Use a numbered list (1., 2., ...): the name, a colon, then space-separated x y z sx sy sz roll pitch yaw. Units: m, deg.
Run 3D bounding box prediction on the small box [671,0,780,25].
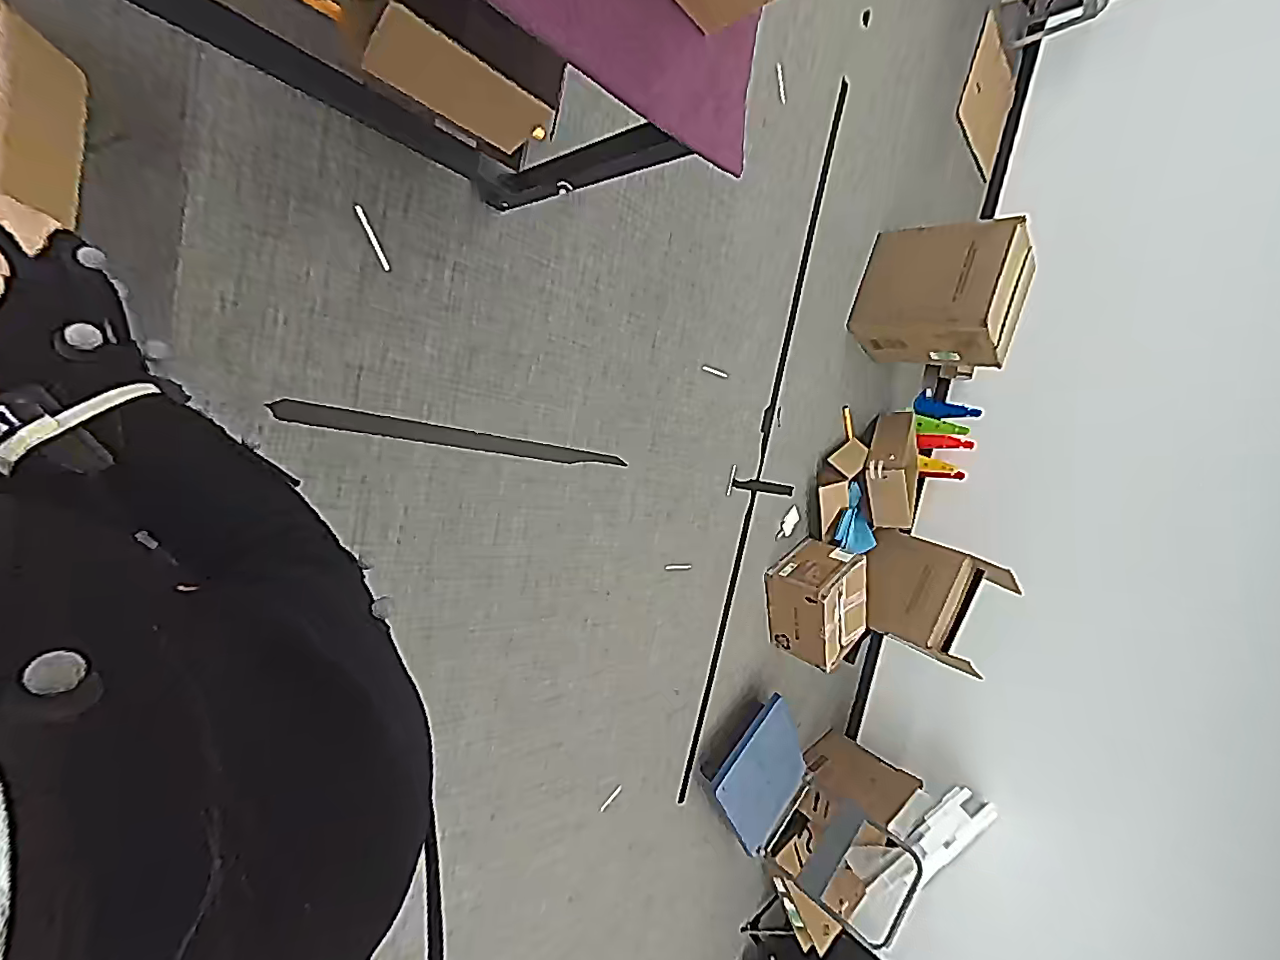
1. small box: 0.108 -0.739 0.693 0.179 0.176 0.168 8 94 -45
